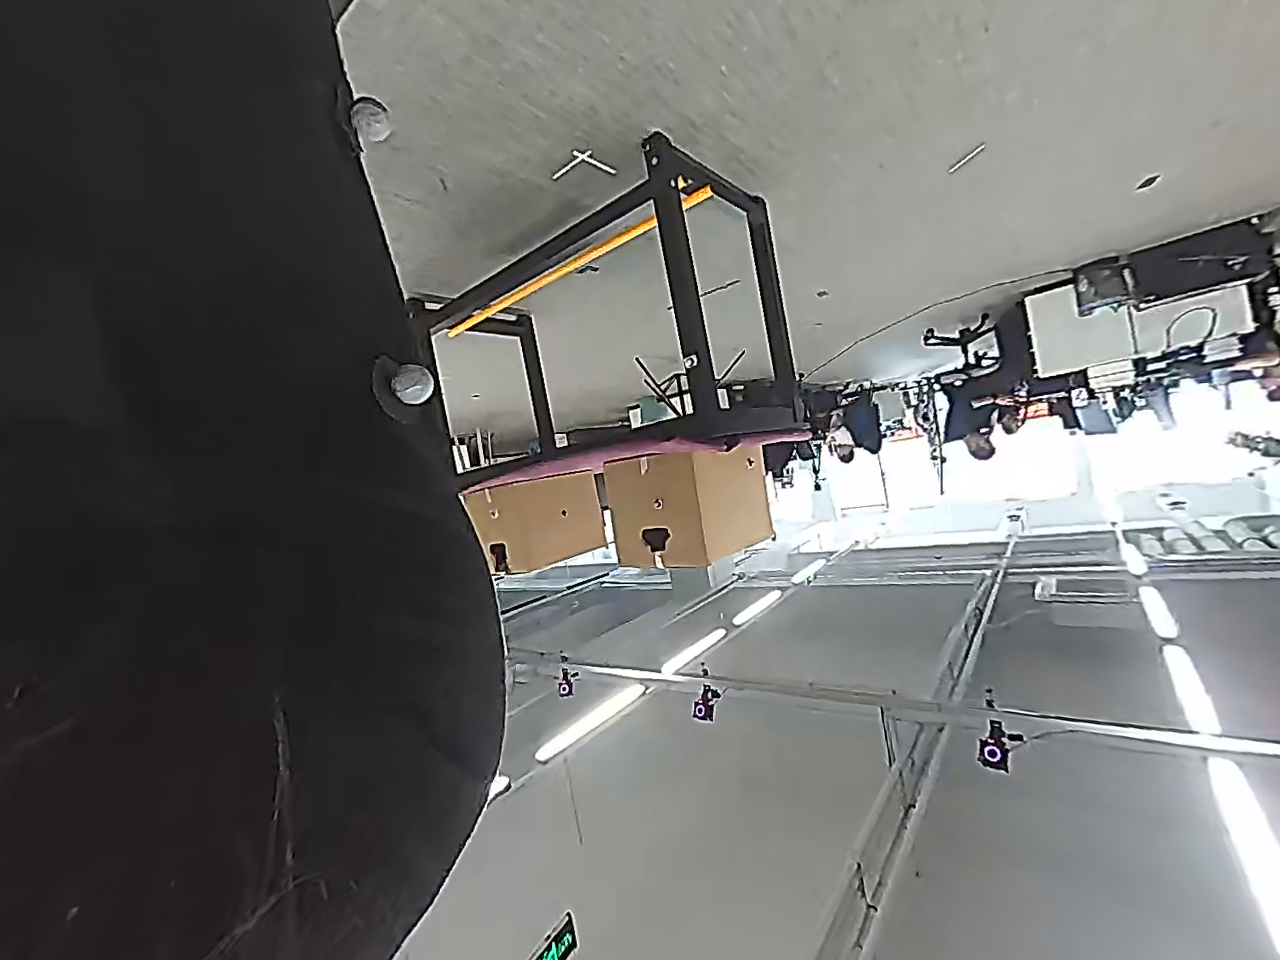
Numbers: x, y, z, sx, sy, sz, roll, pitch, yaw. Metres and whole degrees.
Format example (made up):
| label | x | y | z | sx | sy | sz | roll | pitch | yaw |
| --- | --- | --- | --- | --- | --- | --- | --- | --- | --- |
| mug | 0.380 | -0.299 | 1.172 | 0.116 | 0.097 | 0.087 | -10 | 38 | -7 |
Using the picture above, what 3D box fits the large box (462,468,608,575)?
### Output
| label | x | y | z | sx | sy | sz | roll | pitch | yaw |
| --- | --- | --- | --- | --- | --- | --- | --- | --- | --- |
| large box | -0.391 | 0.149 | 2.039 | 0.320 | 0.320 | 0.408 | -10 | -178 | 38 |
